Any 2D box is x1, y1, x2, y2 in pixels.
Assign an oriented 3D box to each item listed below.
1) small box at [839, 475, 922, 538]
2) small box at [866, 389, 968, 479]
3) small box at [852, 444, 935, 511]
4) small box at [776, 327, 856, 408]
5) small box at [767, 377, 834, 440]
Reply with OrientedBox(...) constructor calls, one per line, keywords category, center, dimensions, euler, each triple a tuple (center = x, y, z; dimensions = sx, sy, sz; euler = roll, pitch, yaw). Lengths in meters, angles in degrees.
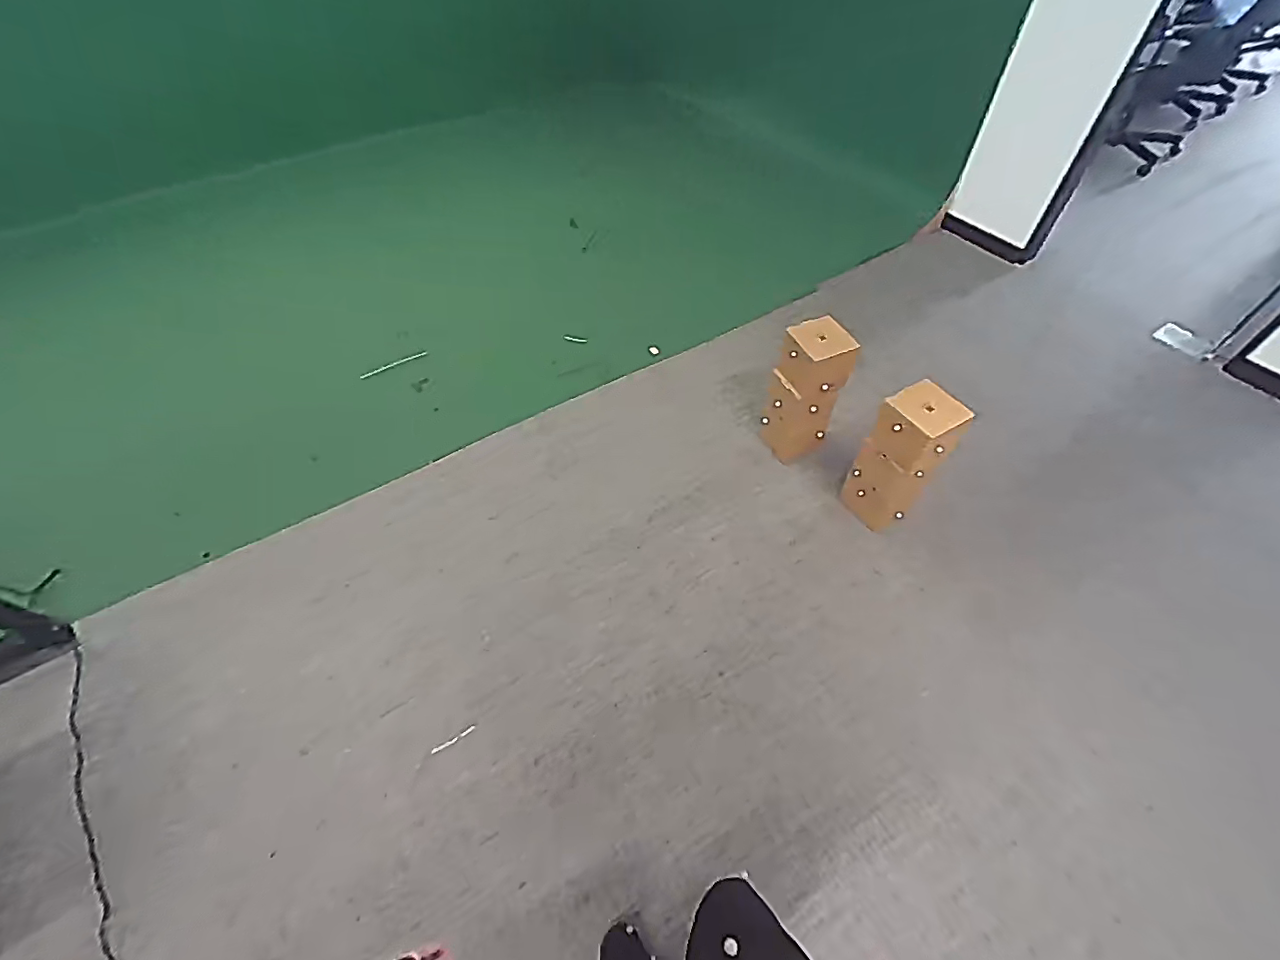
OrientedBox(category="small box", center=(0.805, 0.065, 1.834), dimensions=(0.168, 0.176, 0.179), euler=(-26, 55, -16))
OrientedBox(category="small box", center=(0.795, -0.126, 1.570), dimensions=(0.168, 0.176, 0.179), euler=(-25, 54, -16))
OrientedBox(category="small box", center=(0.796, -0.032, 1.702), dimensions=(0.179, 0.176, 0.168), euler=(-25, 55, -16))
OrientedBox(category="small box", center=(0.566, -0.367, 1.770), dimensions=(0.168, 0.176, 0.179), euler=(-18, 54, -11))
OrientedBox(category="small box", center=(0.560, -0.268, 1.900), dimensions=(0.179, 0.176, 0.168), euler=(-20, 54, -12))
